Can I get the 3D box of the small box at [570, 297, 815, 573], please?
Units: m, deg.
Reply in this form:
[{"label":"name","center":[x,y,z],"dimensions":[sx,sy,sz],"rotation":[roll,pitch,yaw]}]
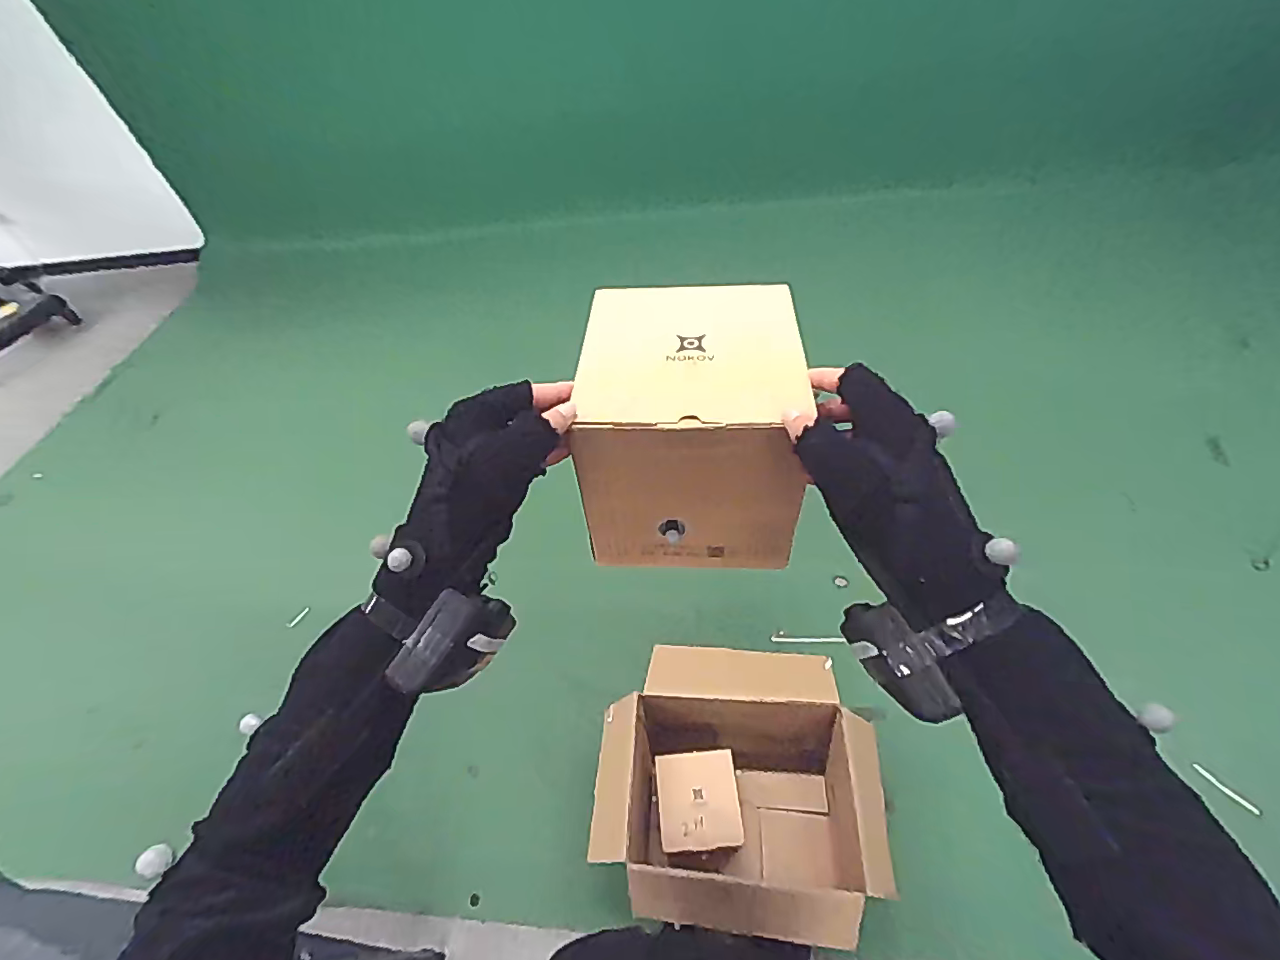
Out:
[{"label":"small box","center":[0.043,-0.040,0.471],"dimensions":[0.168,0.176,0.179],"rotation":[0,48,5]}]
